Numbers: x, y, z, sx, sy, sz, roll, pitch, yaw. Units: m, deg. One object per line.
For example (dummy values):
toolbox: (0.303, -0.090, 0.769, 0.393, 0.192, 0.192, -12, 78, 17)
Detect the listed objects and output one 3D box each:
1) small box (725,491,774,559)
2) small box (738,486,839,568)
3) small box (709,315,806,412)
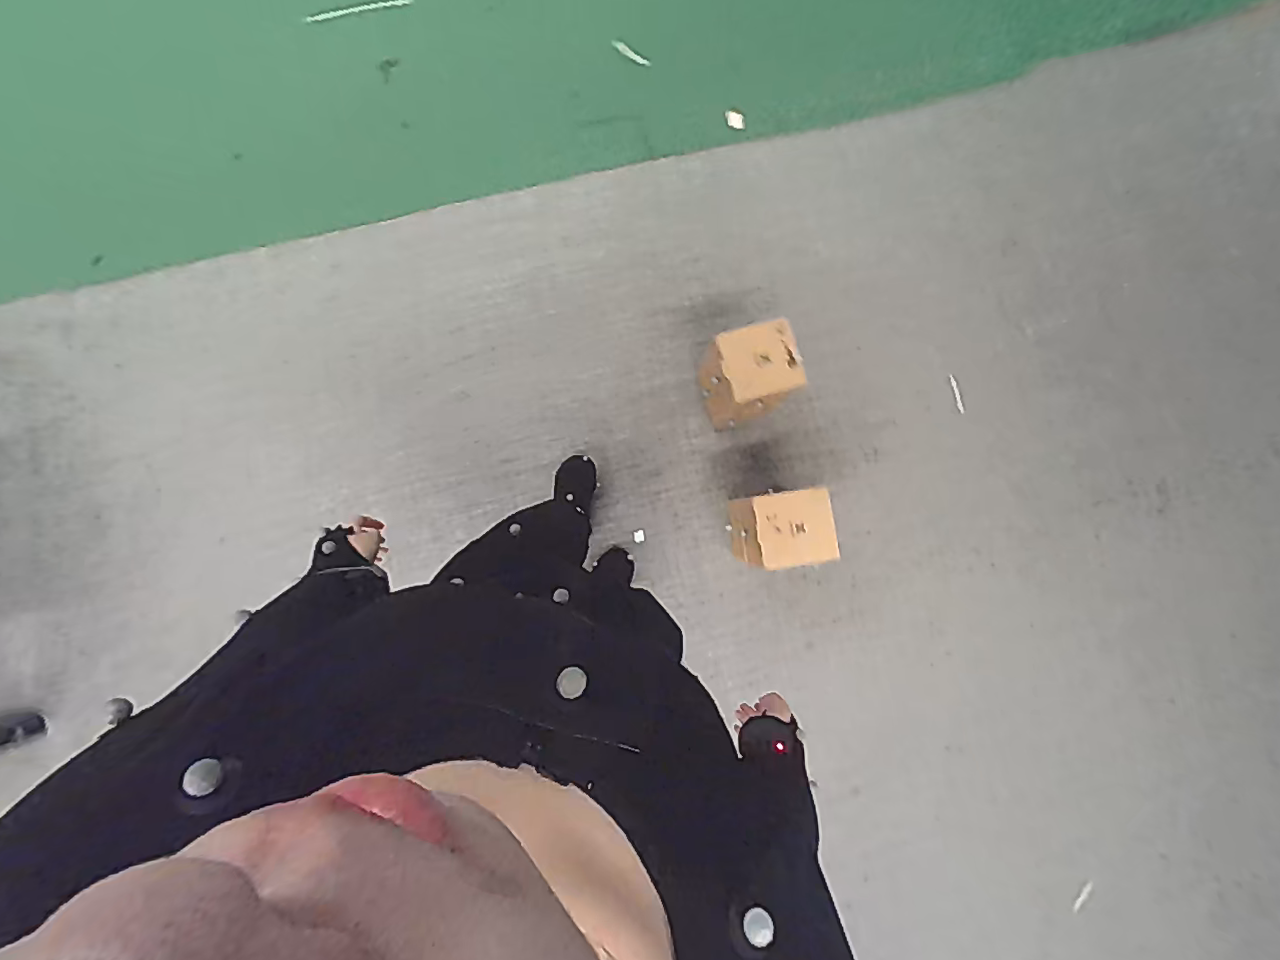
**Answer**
small box: (0.336, 0.116, 1.448, 0.179, 0.176, 0.168, -7, 87, -1)
small box: (0.344, 0.108, 1.283, 0.179, 0.176, 0.168, -8, 86, -2)
small box: (0.273, -0.272, 1.305, 0.179, 0.176, 0.168, -15, 87, -2)
